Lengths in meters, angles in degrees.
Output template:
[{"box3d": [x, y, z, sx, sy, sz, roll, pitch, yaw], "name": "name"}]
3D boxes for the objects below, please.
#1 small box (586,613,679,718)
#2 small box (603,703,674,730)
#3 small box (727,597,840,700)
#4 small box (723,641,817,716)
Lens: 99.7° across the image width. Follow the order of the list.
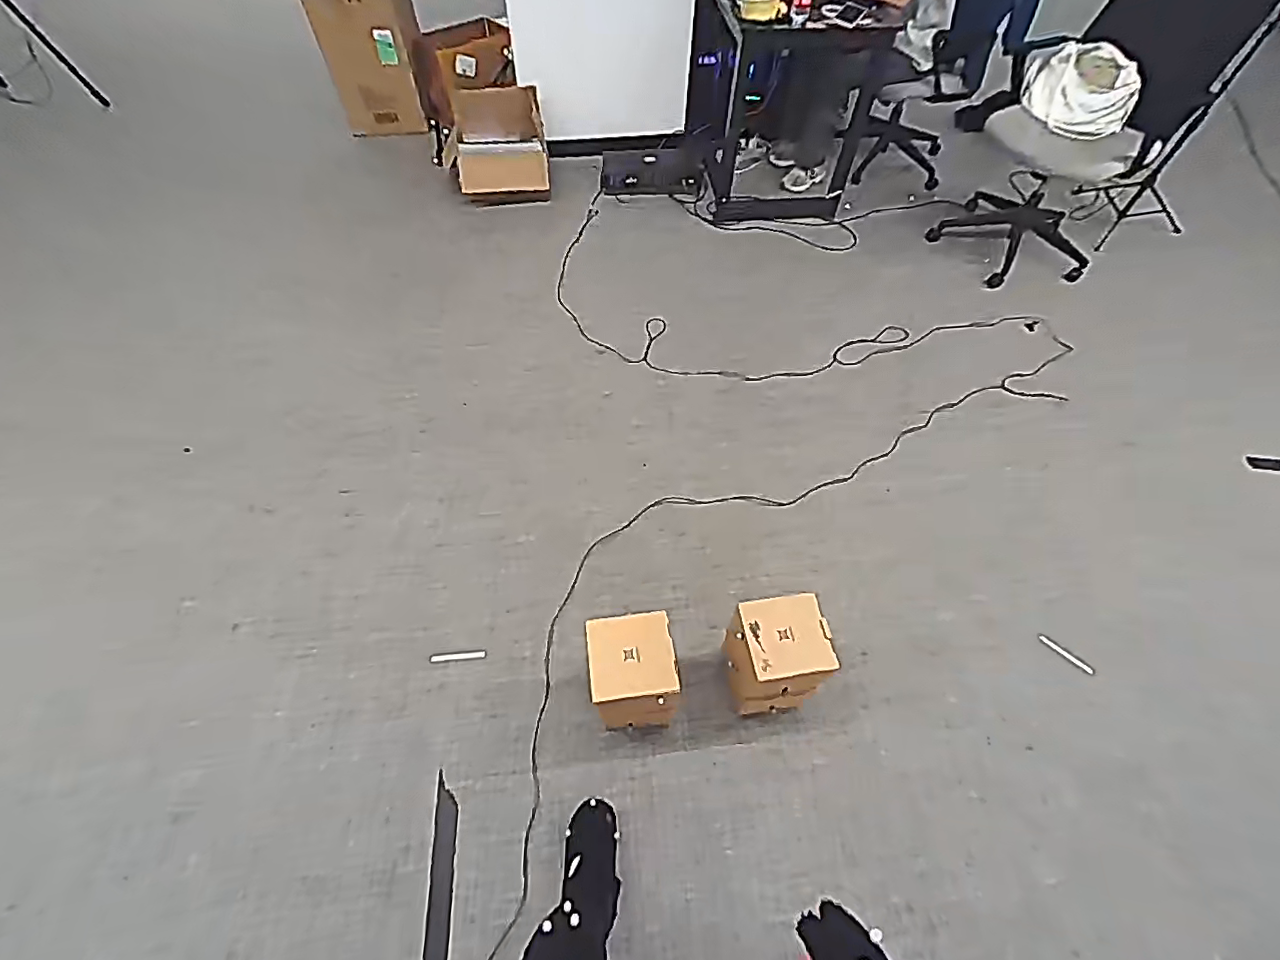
[{"box3d": [-0.017, 0.404, 1.165, 0.179, 0.176, 0.168, -6, 57, -5], "name": "small box"}, {"box3d": [-0.011, 0.491, 1.301, 0.168, 0.176, 0.179, -3, 58, -3], "name": "small box"}, {"box3d": [0.304, 0.373, 1.187, 0.179, 0.176, 0.168, -6, 57, -6], "name": "small box"}, {"box3d": [0.307, 0.464, 1.325, 0.168, 0.176, 0.179, -6, 58, -5], "name": "small box"}]
